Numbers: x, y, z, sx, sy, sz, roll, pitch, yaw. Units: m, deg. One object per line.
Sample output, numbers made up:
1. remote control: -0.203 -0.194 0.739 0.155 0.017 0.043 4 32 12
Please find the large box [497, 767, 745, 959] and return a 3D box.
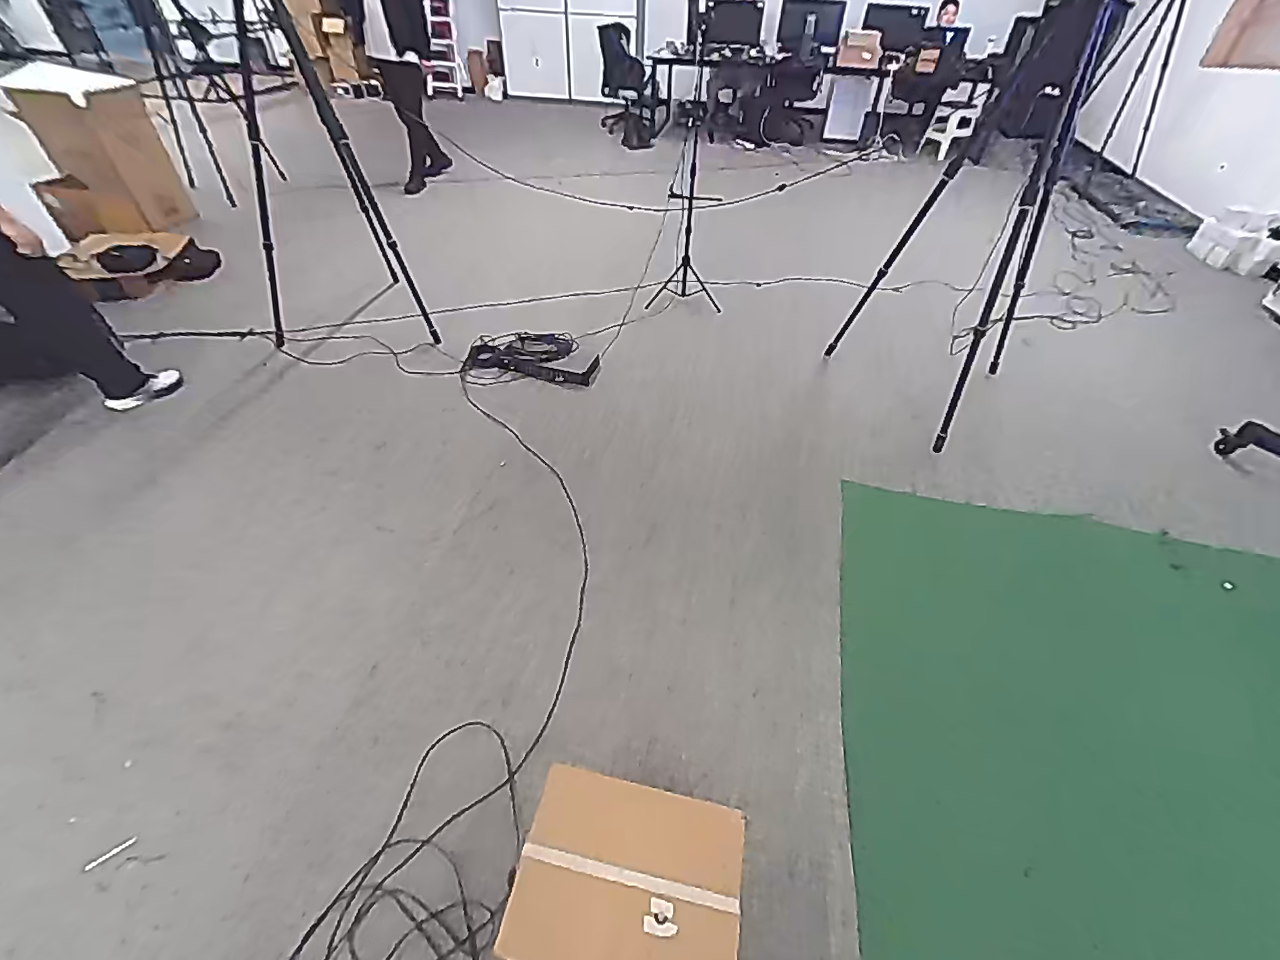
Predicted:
1. large box: -0.025 0.834 1.084 0.408 0.320 0.320 11 44 7
